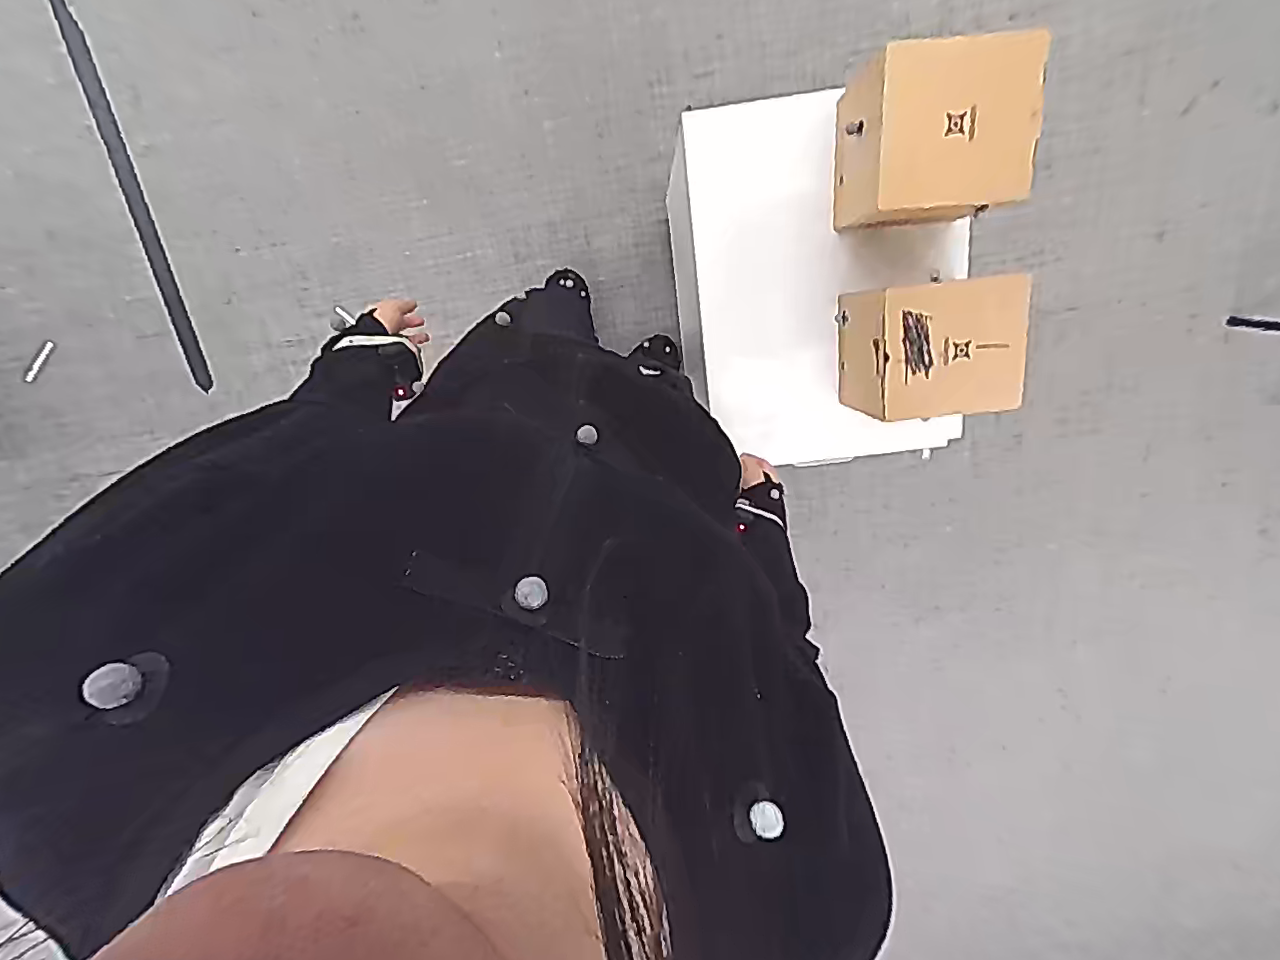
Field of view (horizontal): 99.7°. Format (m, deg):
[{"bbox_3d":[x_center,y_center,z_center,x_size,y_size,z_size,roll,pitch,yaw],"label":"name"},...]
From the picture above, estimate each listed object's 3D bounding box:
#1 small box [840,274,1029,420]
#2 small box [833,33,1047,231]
[{"bbox_3d":[0.387,-0.182,0.745,0.179,0.176,0.168,-6,106,2],"label":"small box"},{"bbox_3d":[0.354,-0.416,0.677,0.179,0.176,0.168,-4,107,2],"label":"small box"}]
